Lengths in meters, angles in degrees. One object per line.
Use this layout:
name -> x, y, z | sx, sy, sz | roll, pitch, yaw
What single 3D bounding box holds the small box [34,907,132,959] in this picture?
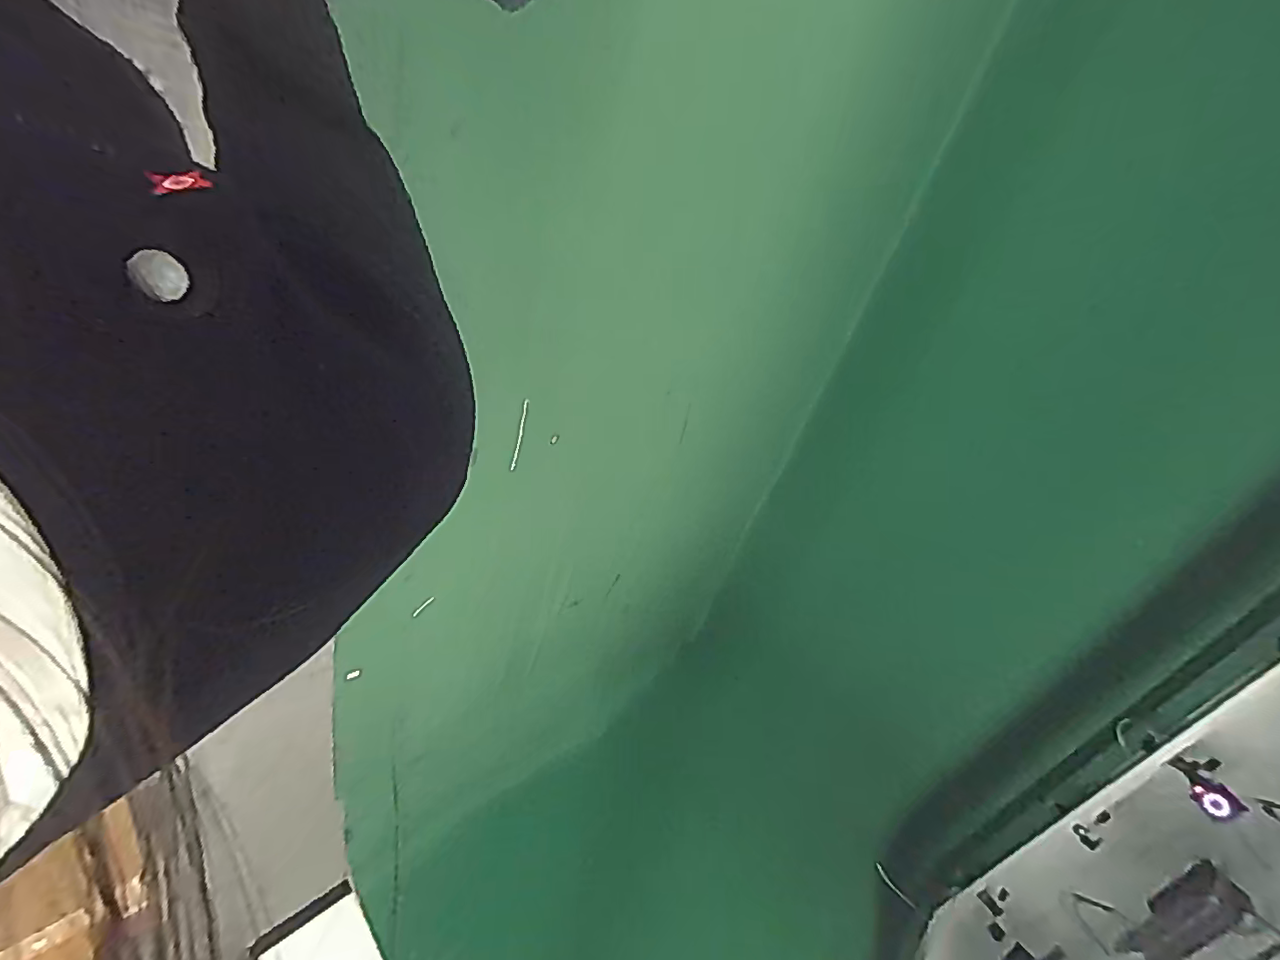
small box -> -1.556, 1.367, 1.514 | 0.179, 0.176, 0.168 | -16, 130, -42
